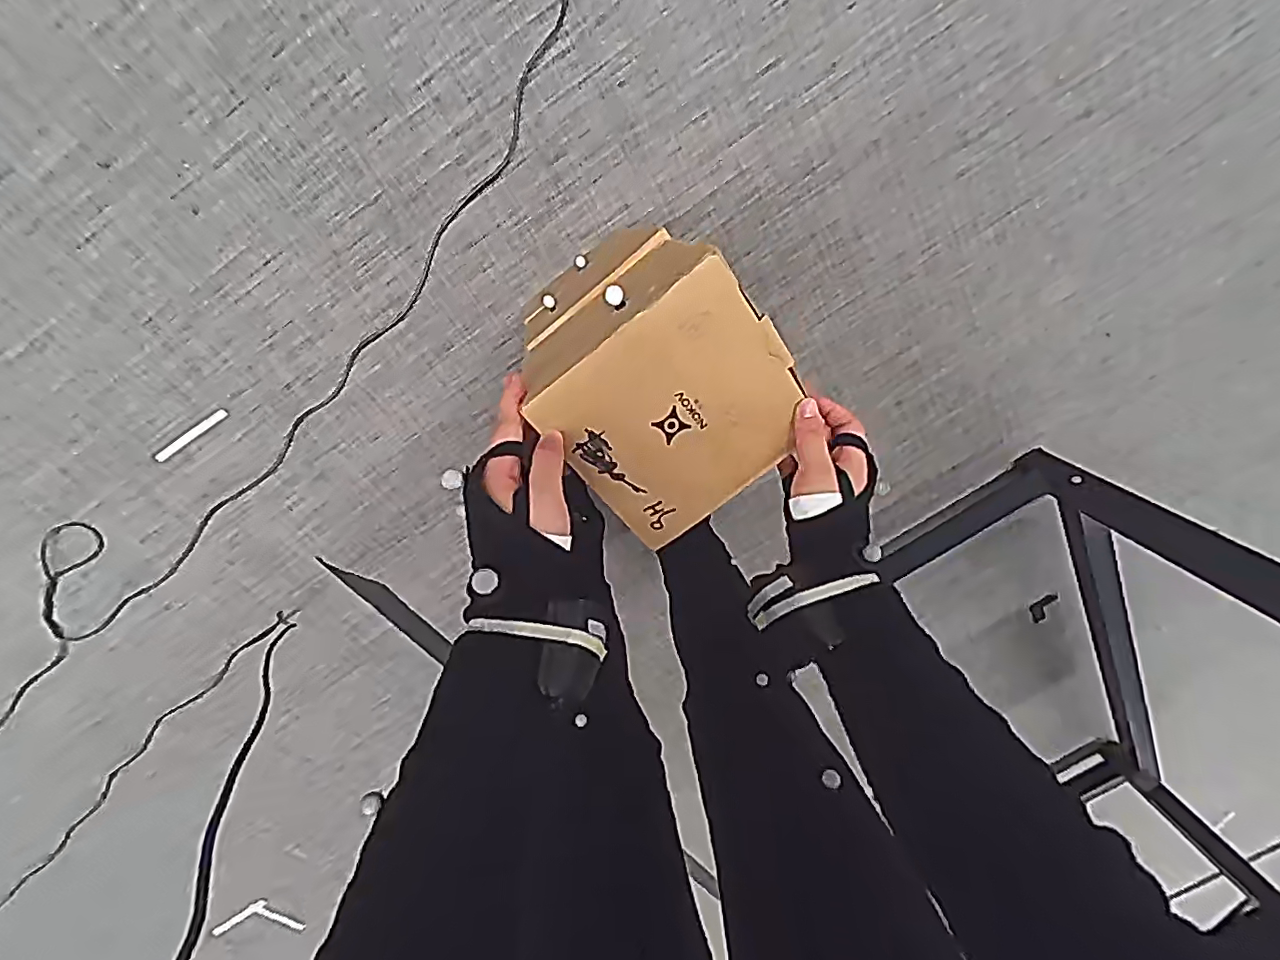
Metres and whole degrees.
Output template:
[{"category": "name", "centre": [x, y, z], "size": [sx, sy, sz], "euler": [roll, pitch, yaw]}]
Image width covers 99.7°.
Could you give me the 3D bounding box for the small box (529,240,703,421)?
[{"category": "small box", "centre": [-0.041, -0.220, 0.769], "size": [0.179, 0.176, 0.168], "euler": [-36, 116, 8]}]
